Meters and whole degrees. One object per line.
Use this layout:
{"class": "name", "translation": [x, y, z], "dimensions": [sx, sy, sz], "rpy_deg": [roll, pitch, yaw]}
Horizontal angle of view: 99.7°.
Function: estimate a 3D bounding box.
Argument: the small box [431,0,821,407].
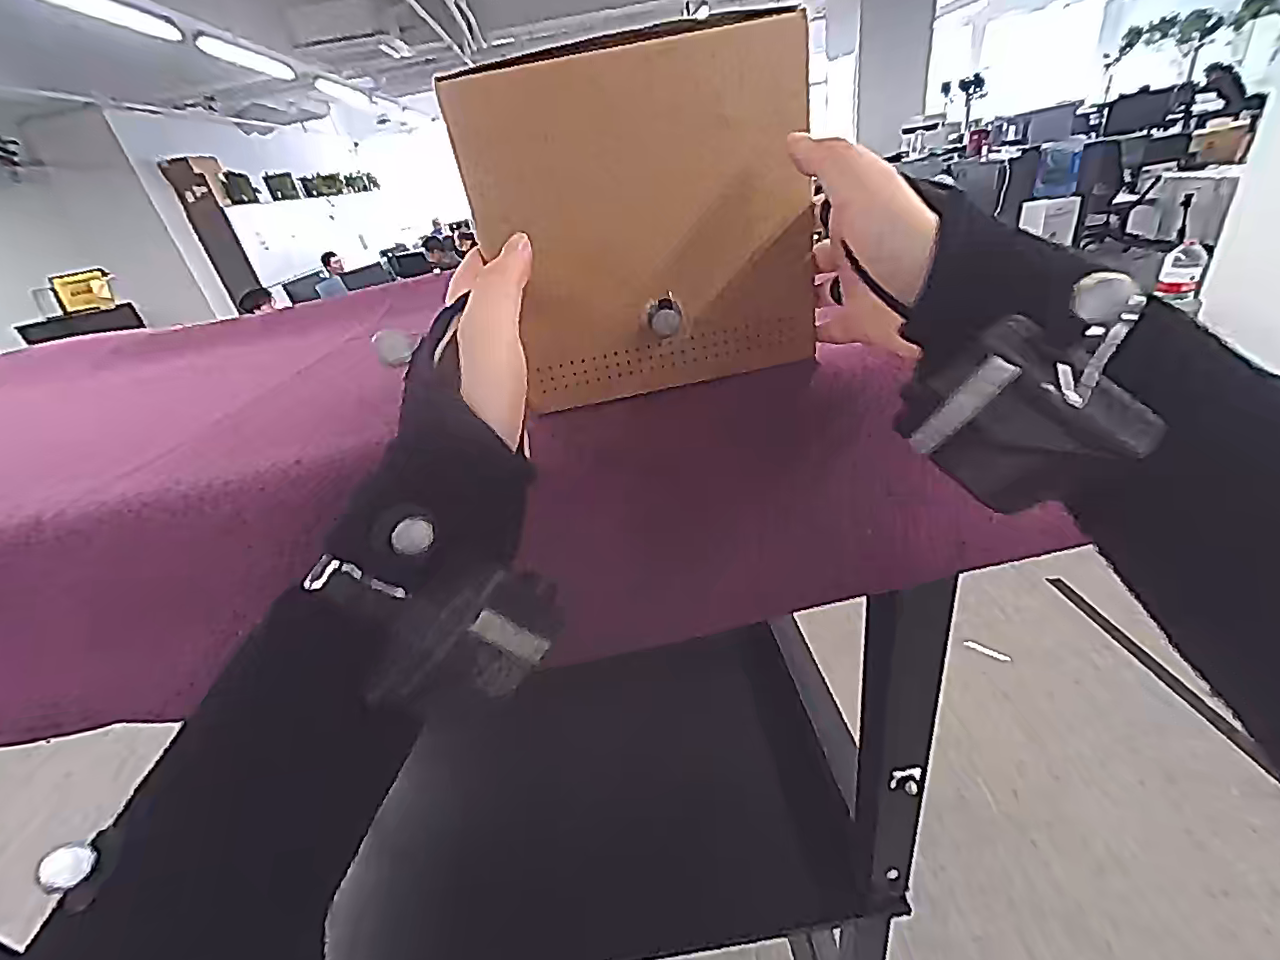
{"class": "small box", "translation": [-0.001, -0.162, 0.342], "dimensions": [0.179, 0.176, 0.168], "rpy_deg": [-12, 28, -1]}
